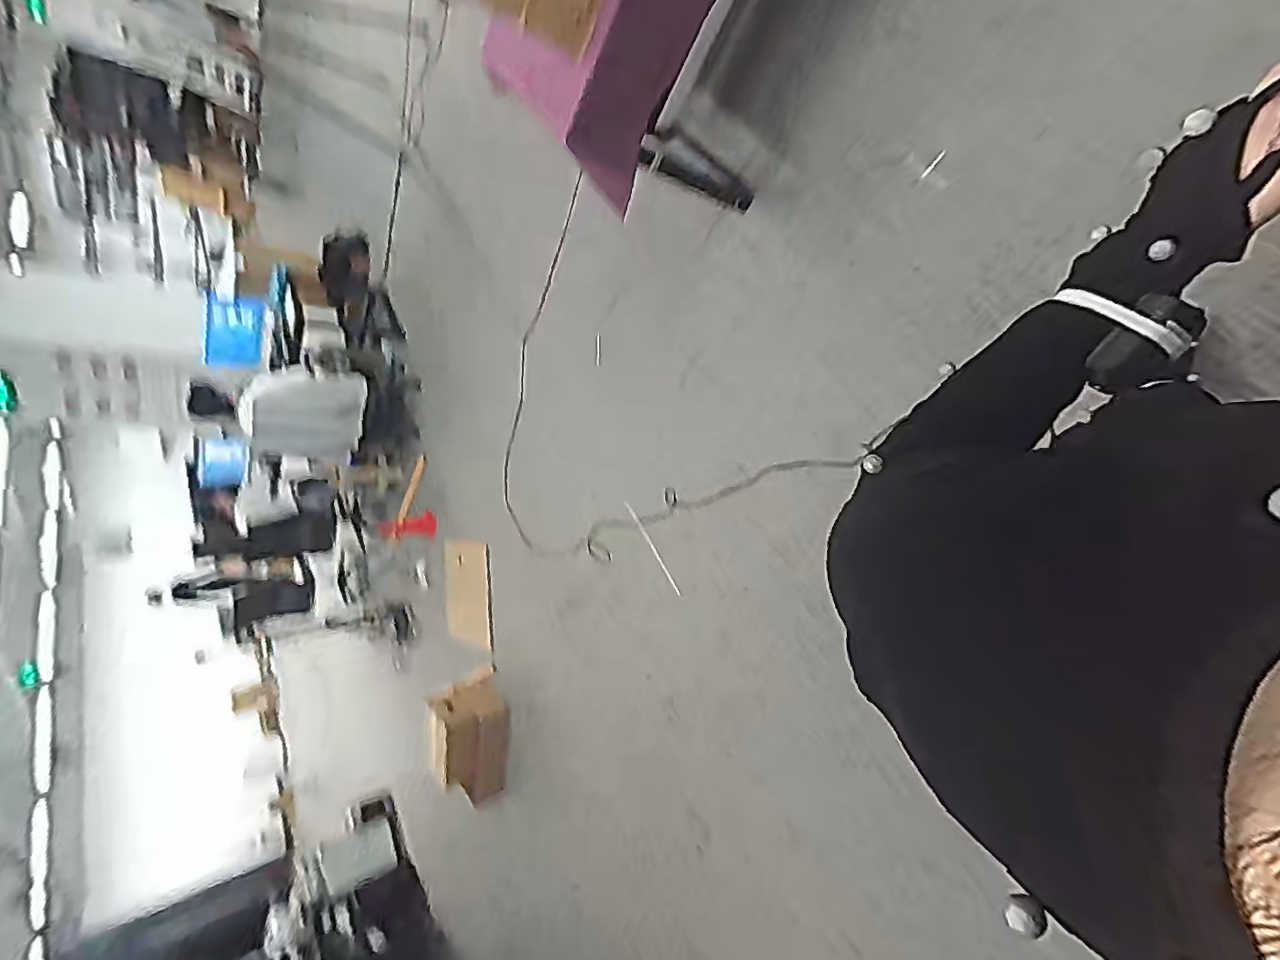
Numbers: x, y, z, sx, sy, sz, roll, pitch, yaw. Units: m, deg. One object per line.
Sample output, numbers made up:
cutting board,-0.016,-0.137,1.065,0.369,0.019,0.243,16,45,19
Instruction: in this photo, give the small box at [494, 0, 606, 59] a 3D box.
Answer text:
small box,-0.200,-1.096,1.213,0.168,0.176,0.179,-53,57,35
